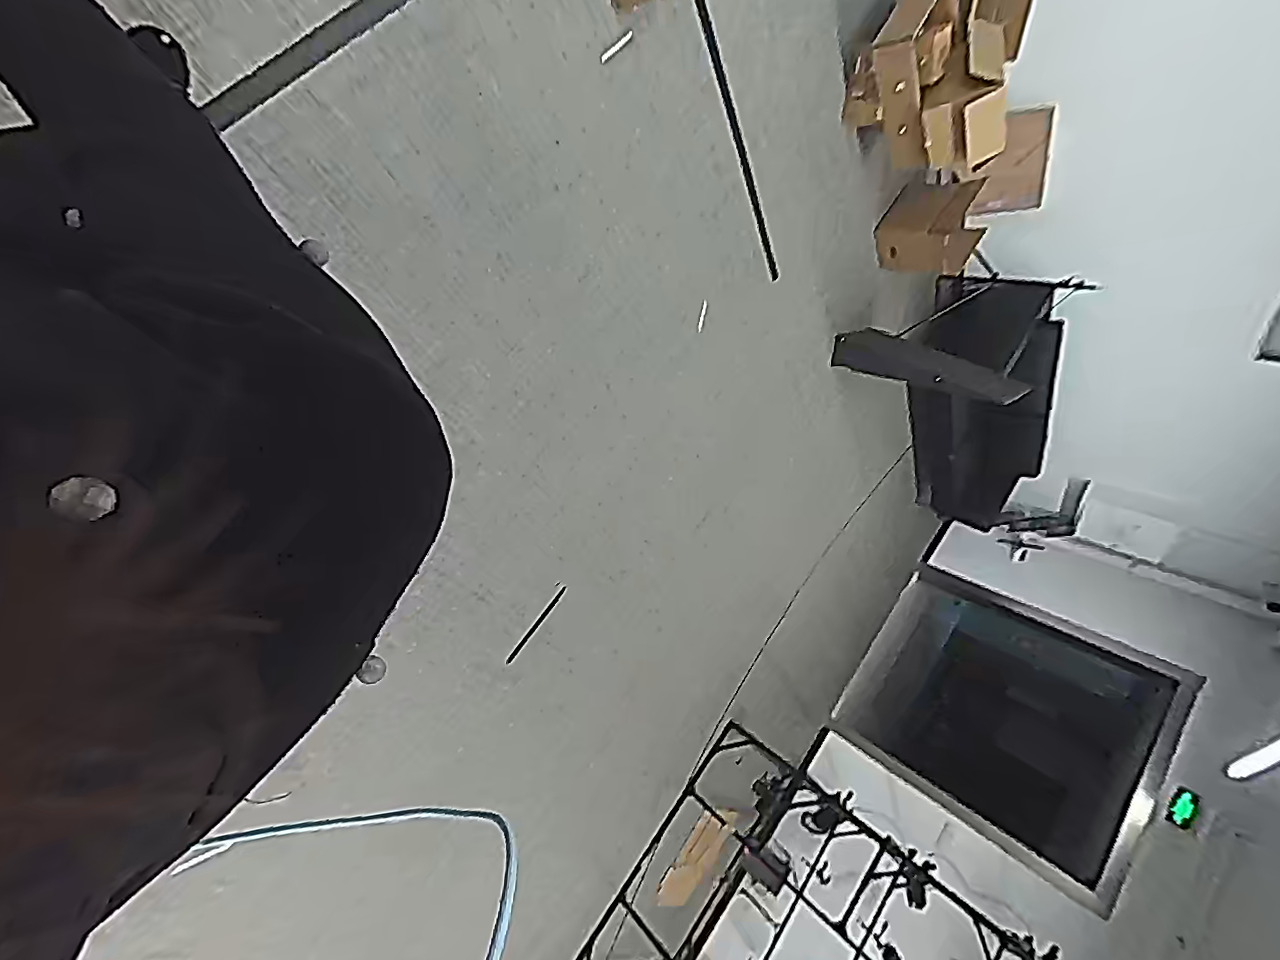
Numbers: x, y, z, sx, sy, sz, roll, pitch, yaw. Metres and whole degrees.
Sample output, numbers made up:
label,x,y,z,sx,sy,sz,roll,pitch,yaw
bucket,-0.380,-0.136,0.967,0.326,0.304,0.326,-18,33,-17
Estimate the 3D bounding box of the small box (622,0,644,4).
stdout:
label,x,y,z,sx,sy,sz,roll,pitch,yaw
small box,0.012,-1.542,1.581,0.168,0.176,0.179,-53,137,-13
